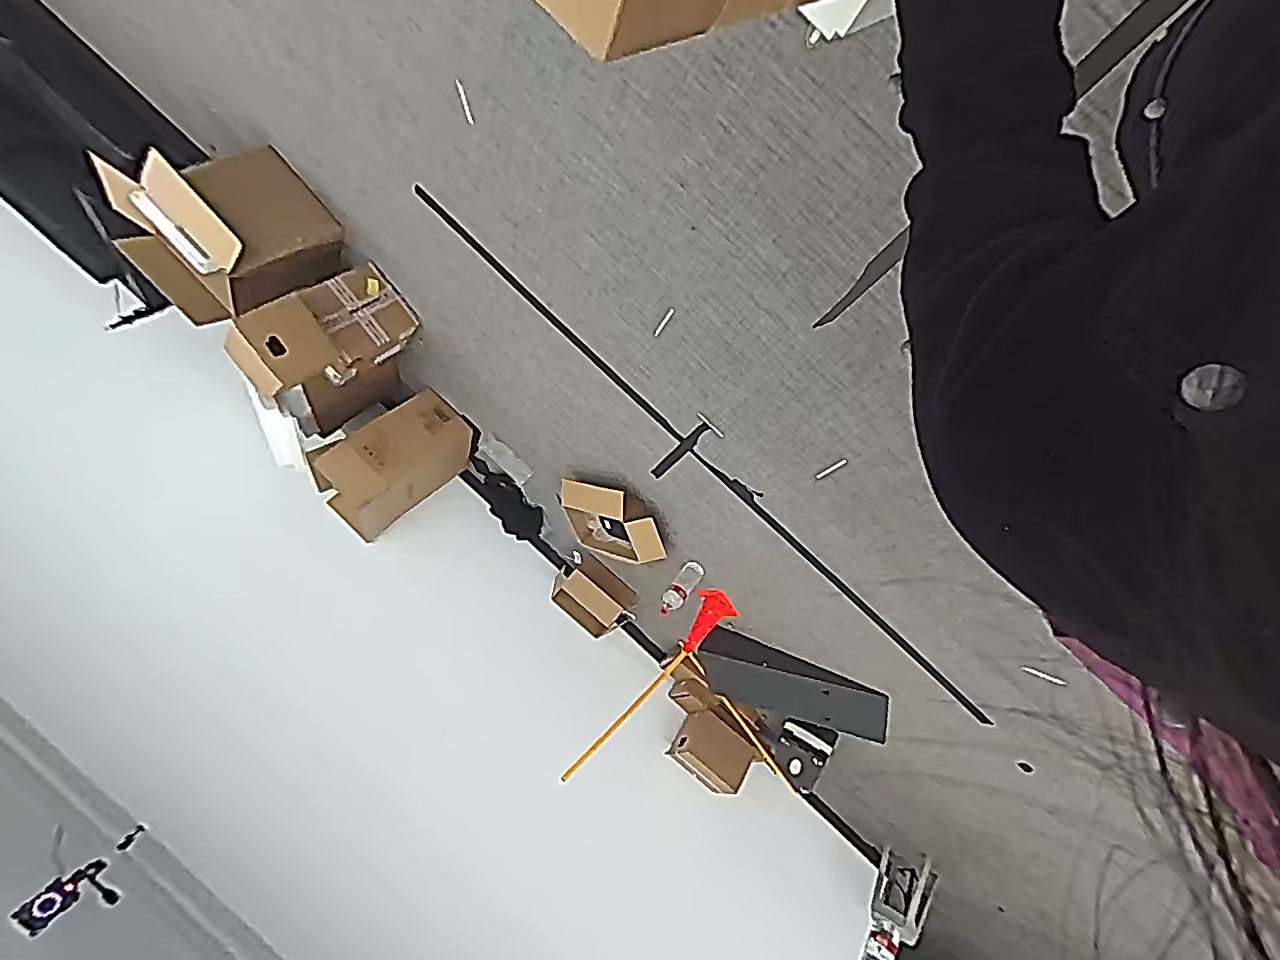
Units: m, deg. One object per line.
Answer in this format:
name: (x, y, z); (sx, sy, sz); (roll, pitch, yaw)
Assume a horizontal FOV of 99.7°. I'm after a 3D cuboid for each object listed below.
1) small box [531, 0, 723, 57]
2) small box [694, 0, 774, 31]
small box: (-0.015, -0.446, 0.372); (0.179, 0.176, 0.168); (43, 148, 0)
small box: (0.079, -0.544, 0.462); (0.179, 0.176, 0.168); (44, 147, 0)
